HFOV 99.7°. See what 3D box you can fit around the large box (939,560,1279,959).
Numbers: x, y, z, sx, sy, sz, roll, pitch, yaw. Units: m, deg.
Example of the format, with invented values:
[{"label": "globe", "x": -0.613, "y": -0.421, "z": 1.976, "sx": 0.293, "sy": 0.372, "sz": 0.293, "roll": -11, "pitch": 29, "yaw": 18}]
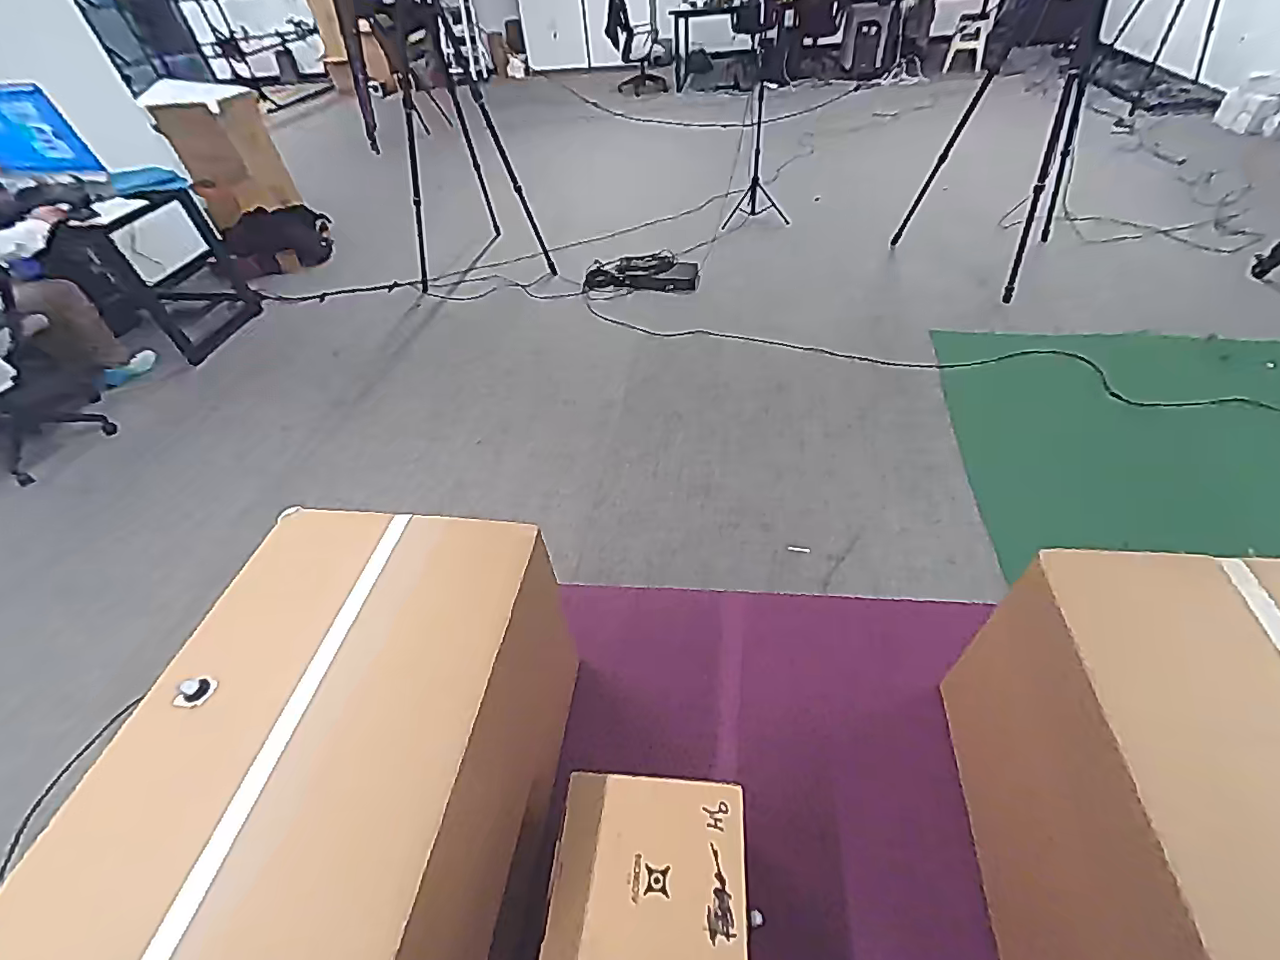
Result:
[{"label": "large box", "x": 0.520, "y": 0.332, "z": 0.484, "sx": 0.320, "sy": 0.320, "sz": 0.408, "roll": 4, "pitch": 47, "yaw": 10}]
